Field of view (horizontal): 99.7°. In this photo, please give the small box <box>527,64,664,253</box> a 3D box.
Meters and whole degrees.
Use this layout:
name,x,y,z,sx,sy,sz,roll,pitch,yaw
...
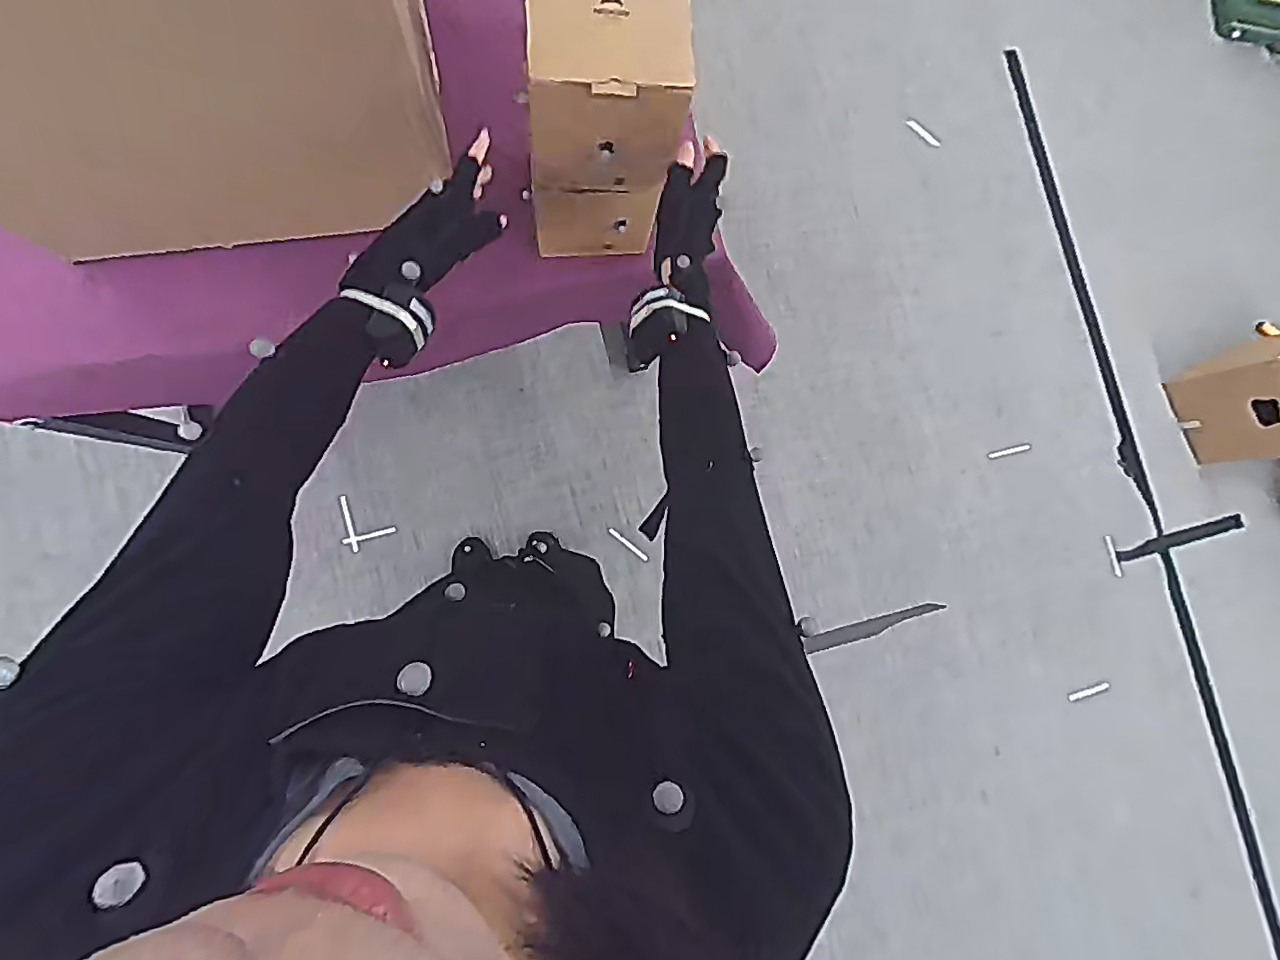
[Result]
name,x,y,z,sx,sy,sz,roll,pitch,yaw
small box,-0.067,-0.442,0.769,0.168,0.176,0.179,-5,84,-9
